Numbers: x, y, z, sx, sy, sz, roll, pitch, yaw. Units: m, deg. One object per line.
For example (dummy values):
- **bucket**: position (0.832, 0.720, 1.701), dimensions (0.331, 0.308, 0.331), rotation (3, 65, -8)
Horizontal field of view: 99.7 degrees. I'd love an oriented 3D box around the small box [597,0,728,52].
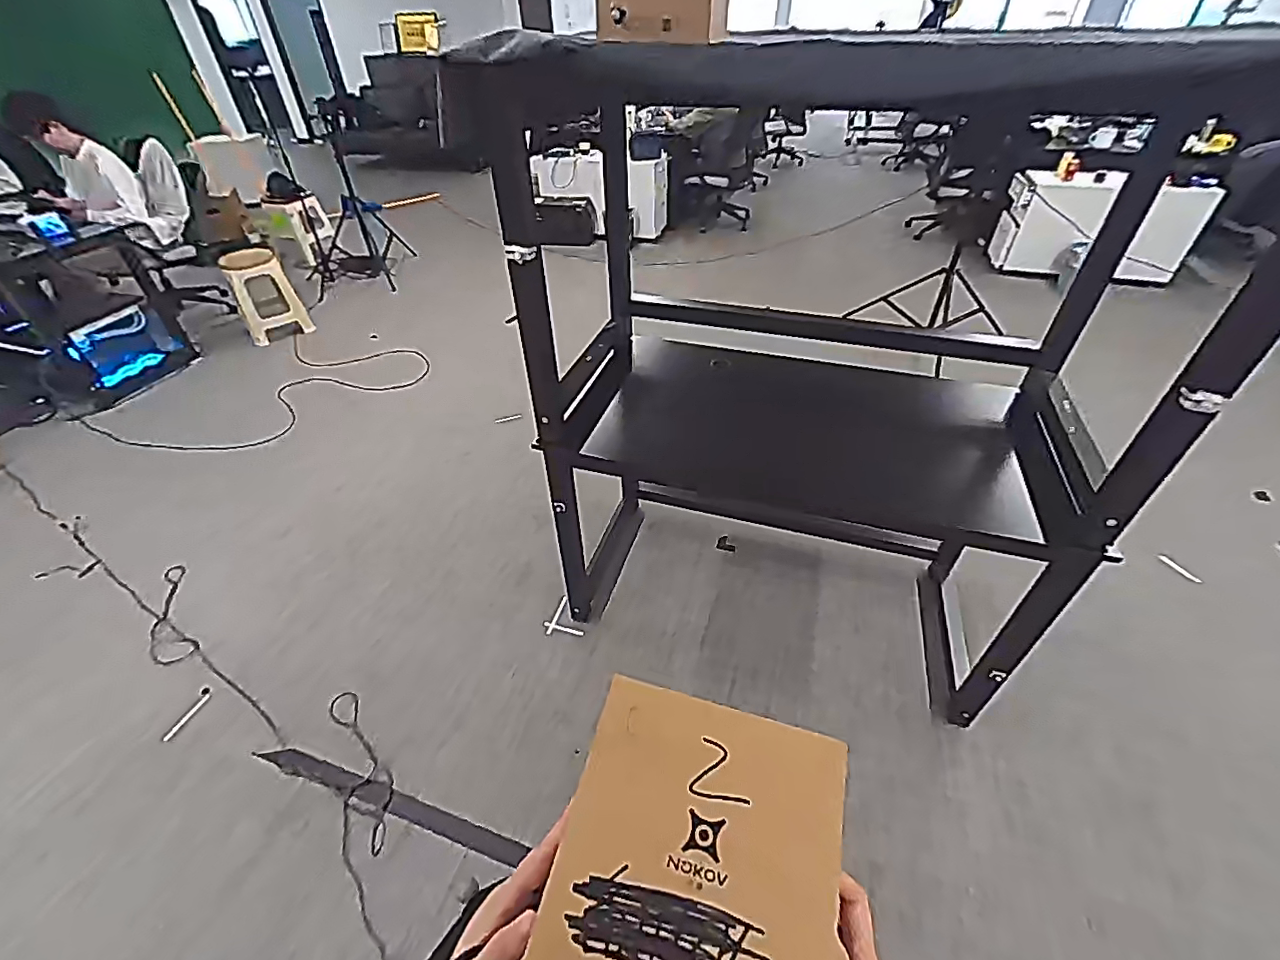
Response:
- **small box**: position (0.038, -0.726, 0.777), dimensions (0.168, 0.176, 0.179), rotation (10, 40, 11)
